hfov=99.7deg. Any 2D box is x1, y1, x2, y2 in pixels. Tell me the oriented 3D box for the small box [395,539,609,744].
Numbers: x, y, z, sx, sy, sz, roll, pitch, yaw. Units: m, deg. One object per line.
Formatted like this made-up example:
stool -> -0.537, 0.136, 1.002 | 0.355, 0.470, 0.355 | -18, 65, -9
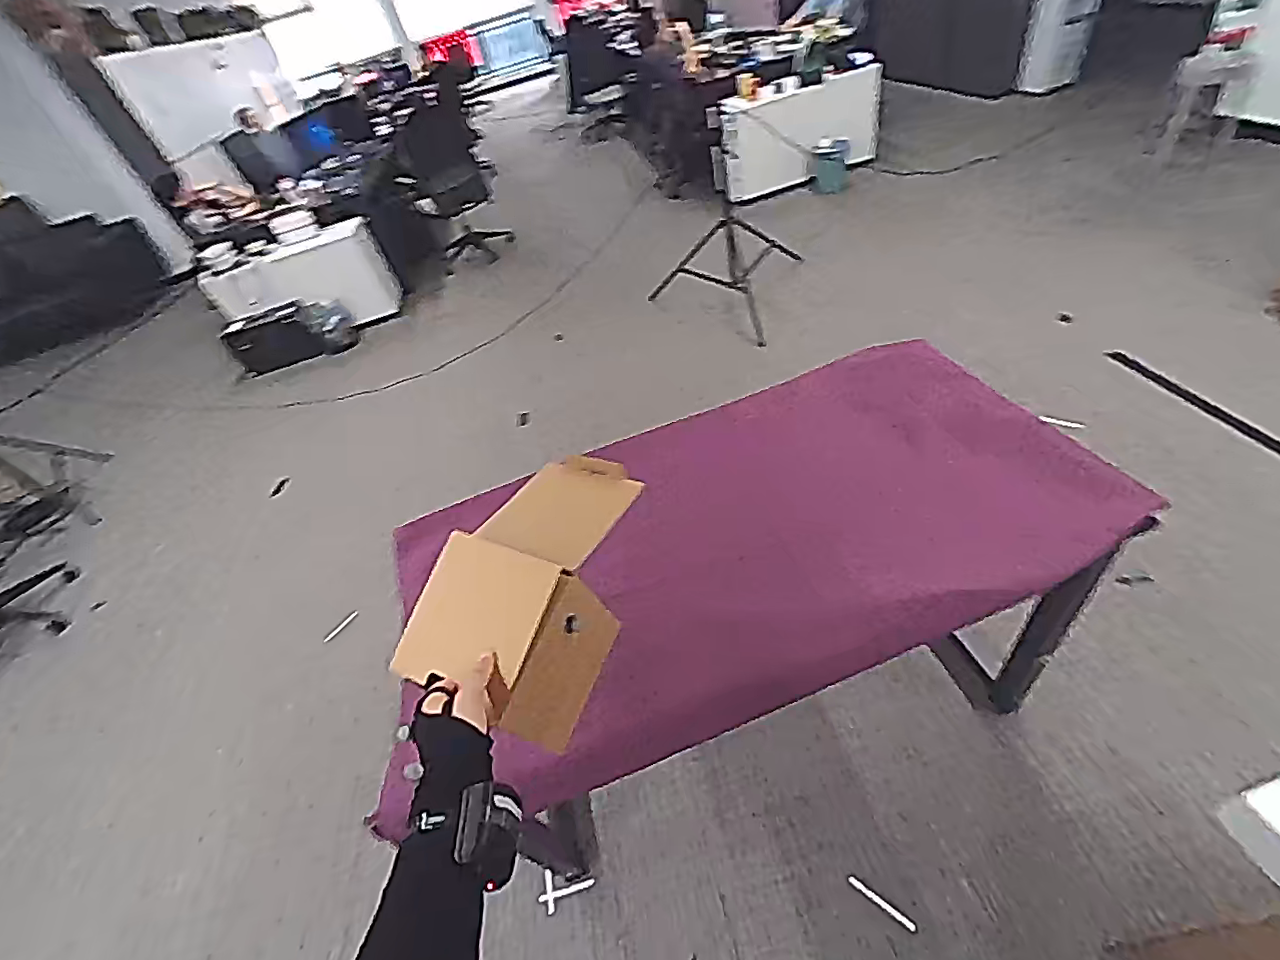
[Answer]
small box -> -0.157, 0.204, 0.684 | 0.168, 0.176, 0.179 | 11, 60, 28
